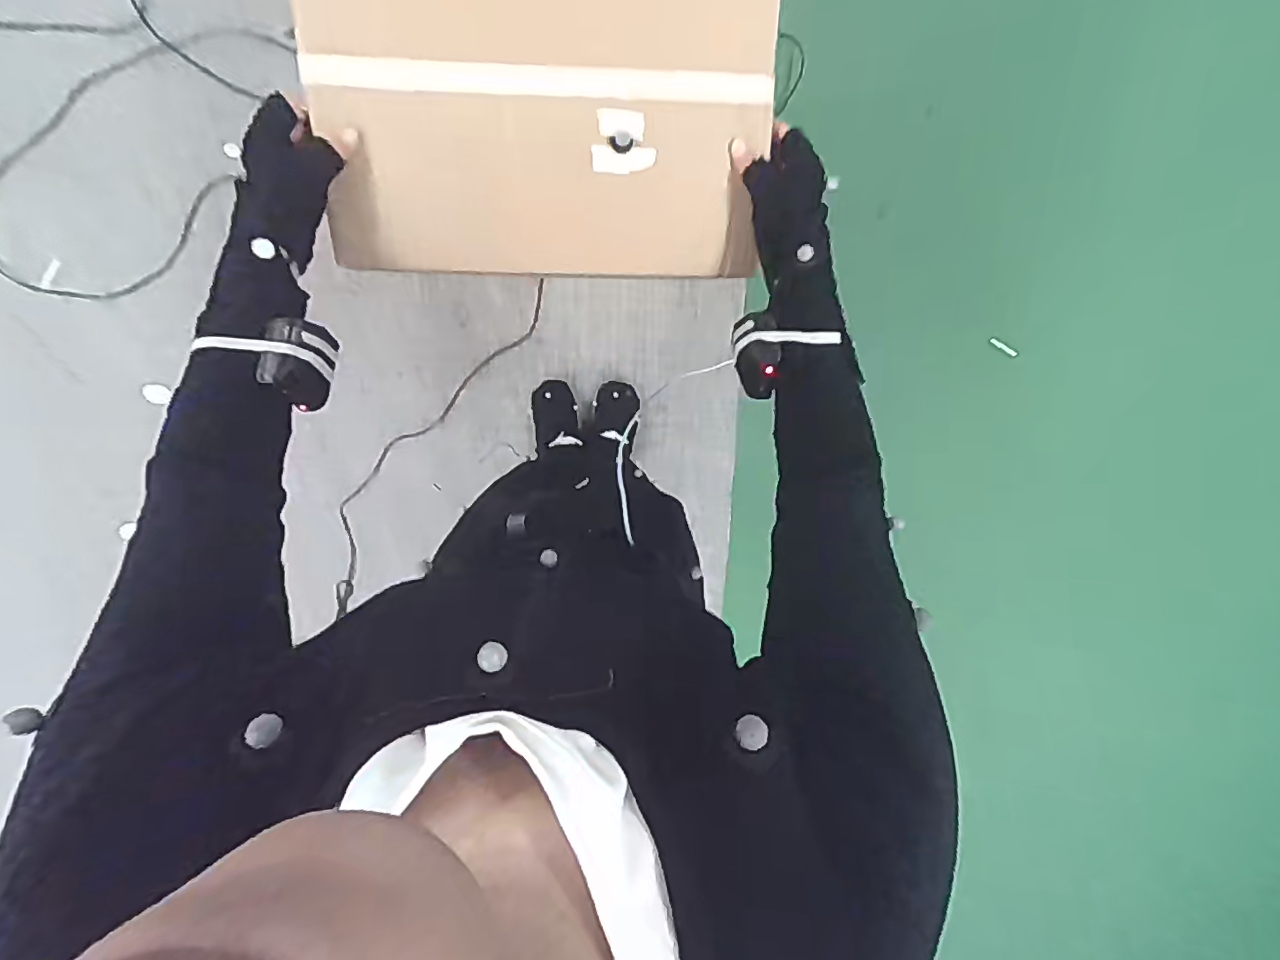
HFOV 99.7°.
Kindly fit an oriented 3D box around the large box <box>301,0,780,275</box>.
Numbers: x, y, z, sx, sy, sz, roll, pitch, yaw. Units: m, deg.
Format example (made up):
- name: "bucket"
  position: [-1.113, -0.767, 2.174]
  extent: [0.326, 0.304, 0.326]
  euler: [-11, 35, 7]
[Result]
- name: "large box"
  position: [-0.092, -0.401, 0.607]
  extent: [0.408, 0.320, 0.320]
  euler: [-1, 111, -5]
